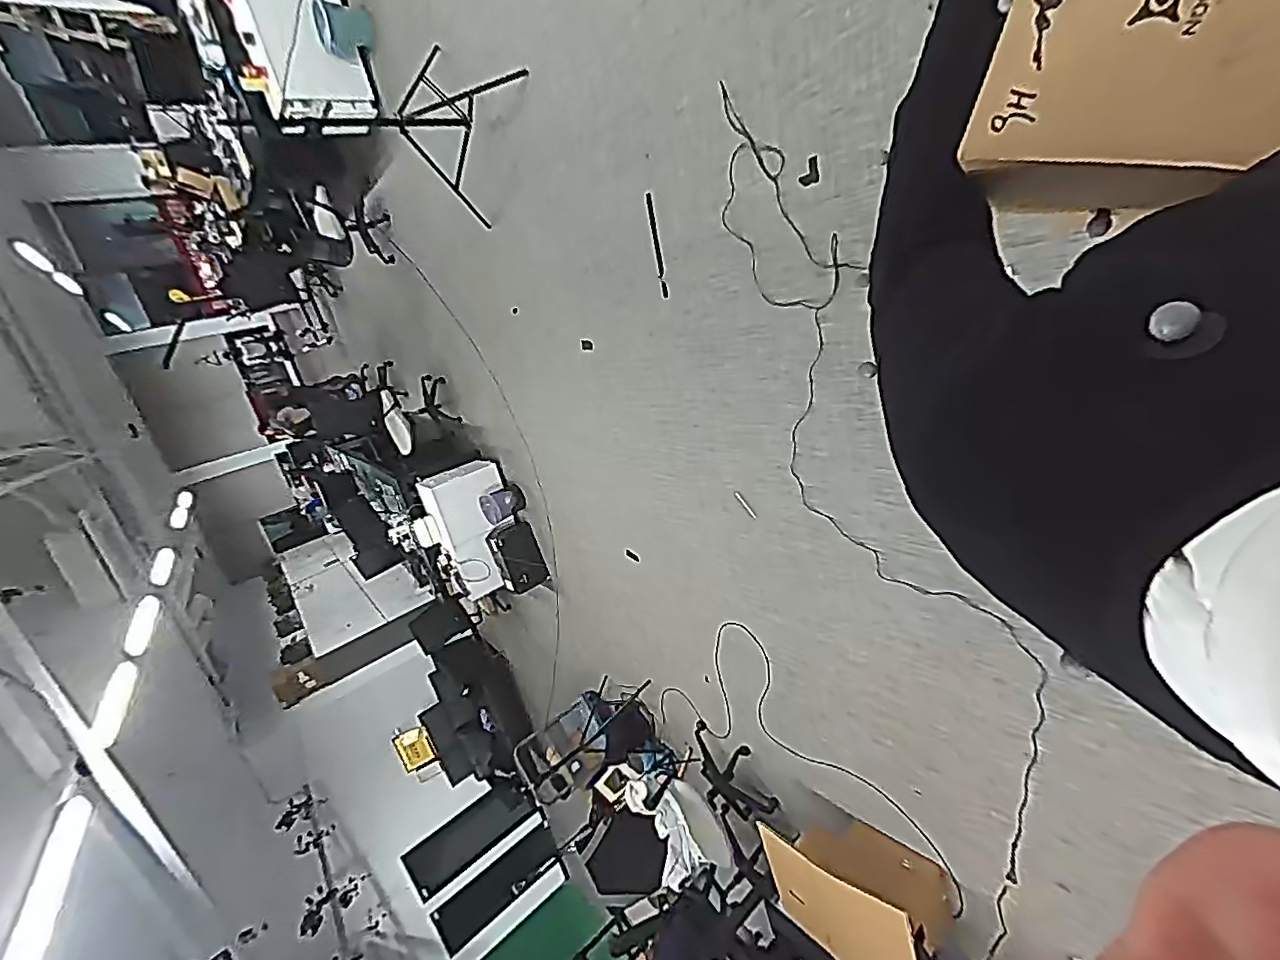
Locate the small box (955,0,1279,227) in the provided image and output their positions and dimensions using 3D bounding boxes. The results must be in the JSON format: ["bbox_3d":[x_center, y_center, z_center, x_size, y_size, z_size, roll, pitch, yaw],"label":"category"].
[{"bbox_3d":[0.354,-0.282,0.369,0.179,0.176,0.168,26,114,33],"label":"small box"}]
